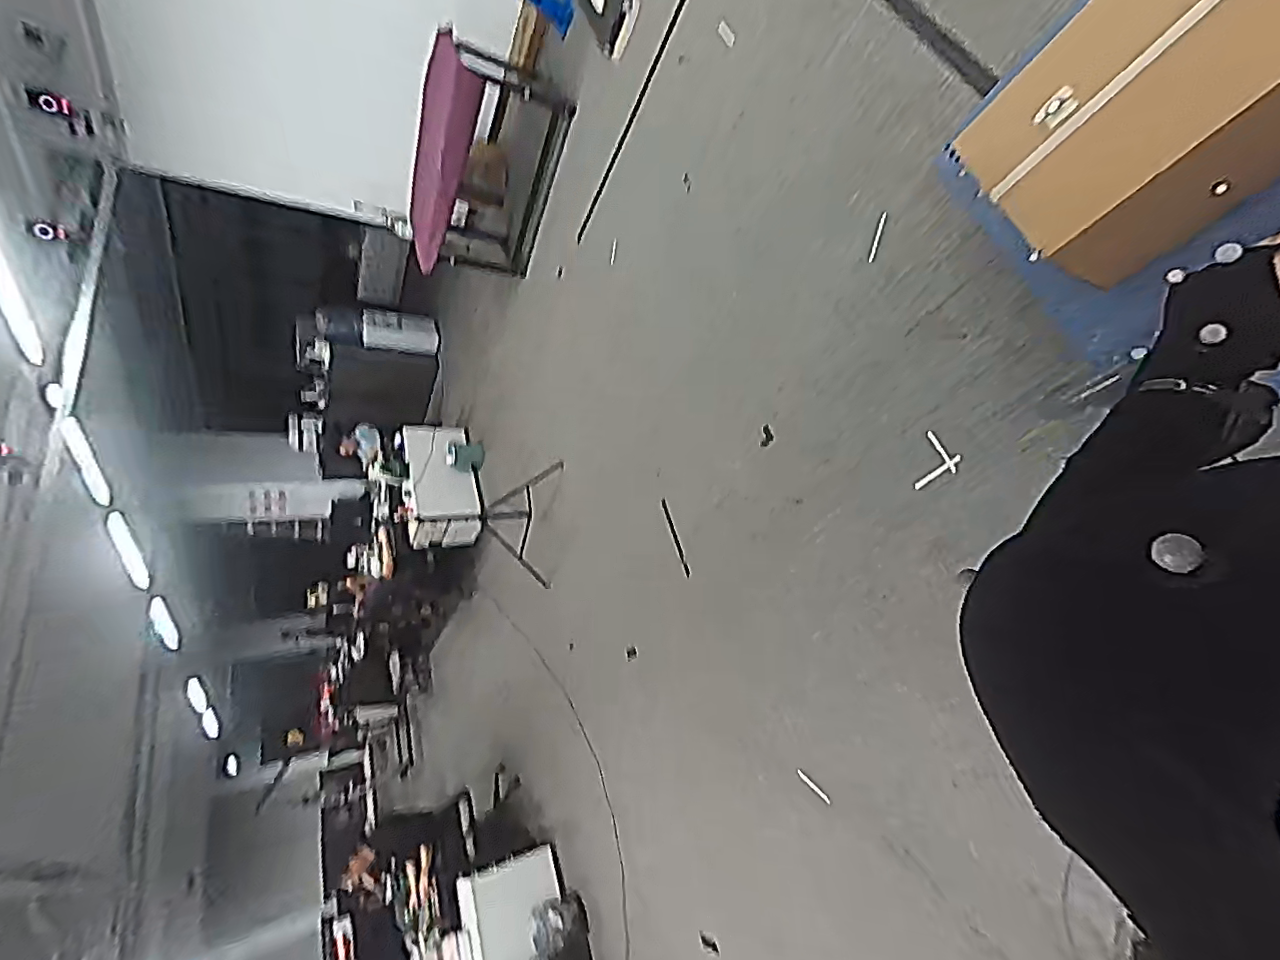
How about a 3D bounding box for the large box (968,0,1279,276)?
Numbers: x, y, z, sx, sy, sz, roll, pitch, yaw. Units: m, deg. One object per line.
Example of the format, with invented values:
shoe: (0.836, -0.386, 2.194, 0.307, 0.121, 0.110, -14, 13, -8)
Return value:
large box: (0.876, -0.618, 0.898, 0.408, 0.320, 0.320, -46, 53, 49)
